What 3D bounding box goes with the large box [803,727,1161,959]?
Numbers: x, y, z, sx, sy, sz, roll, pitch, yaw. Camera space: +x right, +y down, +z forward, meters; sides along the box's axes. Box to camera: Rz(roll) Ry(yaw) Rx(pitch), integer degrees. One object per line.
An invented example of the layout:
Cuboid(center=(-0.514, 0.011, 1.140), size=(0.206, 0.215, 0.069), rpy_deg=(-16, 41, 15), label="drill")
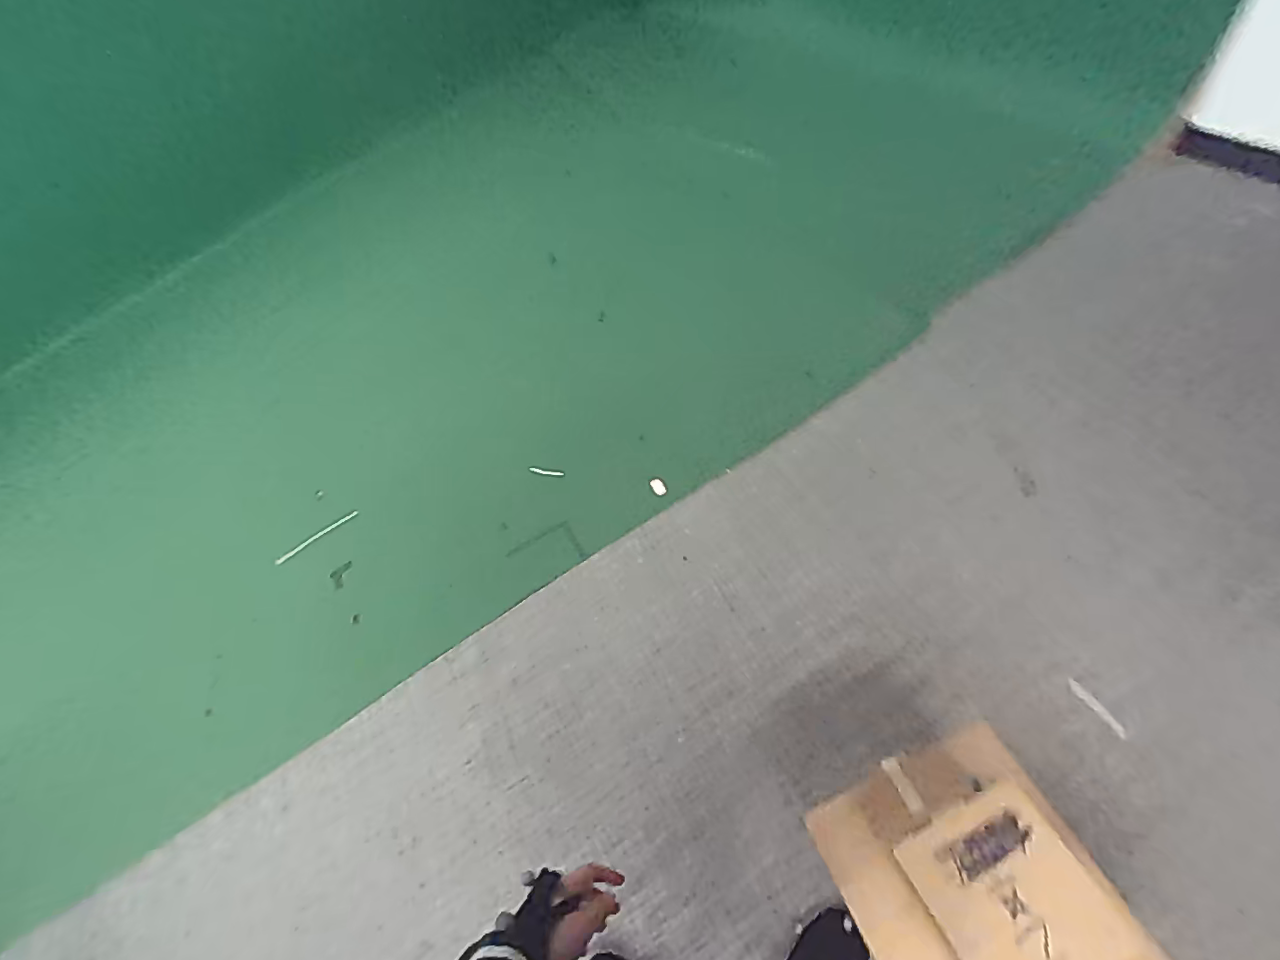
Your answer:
Cuboid(center=(0.491, 0.654, 0.823), size=(0.320, 0.320, 0.408), rpy_deg=(-28, 57, 1), label="large box")
